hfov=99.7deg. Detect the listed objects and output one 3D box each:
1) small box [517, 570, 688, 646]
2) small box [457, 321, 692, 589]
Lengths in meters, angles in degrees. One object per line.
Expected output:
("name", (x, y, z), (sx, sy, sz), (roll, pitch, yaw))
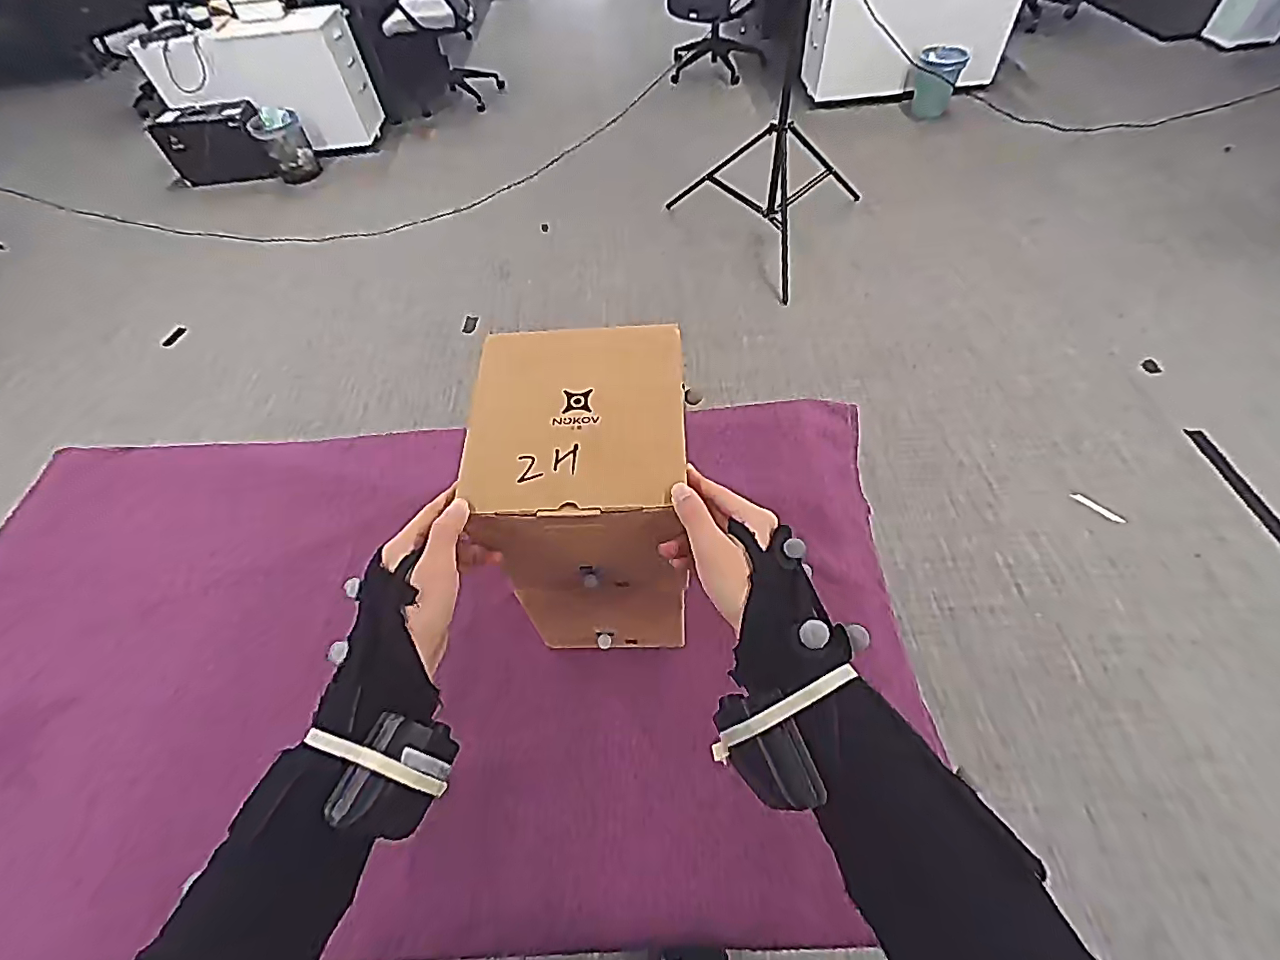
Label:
("small box", (-0.030, 0.078, 0.626), (0.168, 0.176, 0.179), (-2, 55, 4))
("small box", (-0.040, -0.016, 0.481), (0.168, 0.176, 0.179), (-2, 59, 4))
